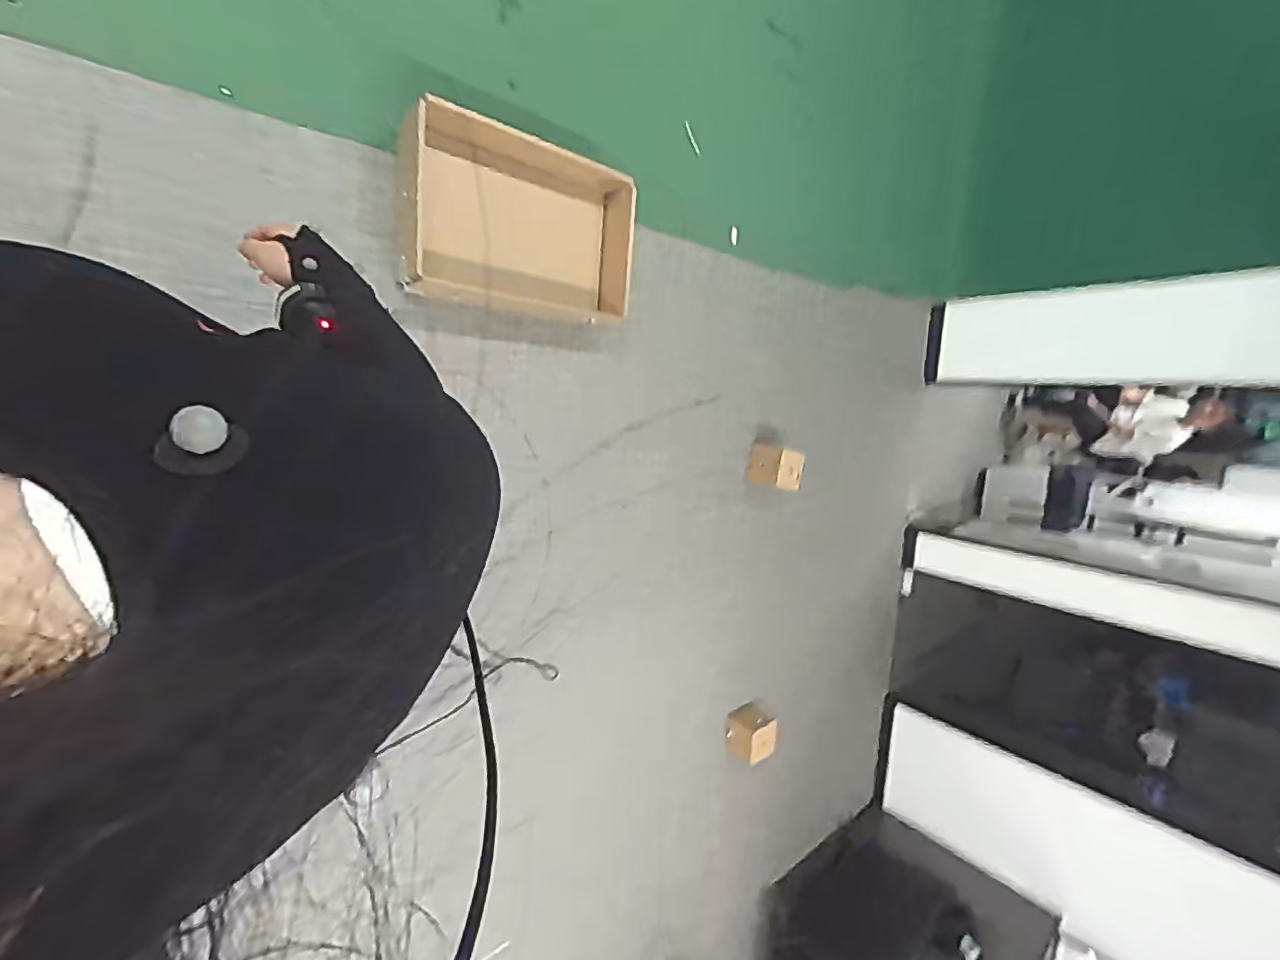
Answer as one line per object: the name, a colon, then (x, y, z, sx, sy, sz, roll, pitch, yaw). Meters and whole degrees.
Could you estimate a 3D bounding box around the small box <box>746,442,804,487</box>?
small box: (0.593, -0.072, 2.385, 0.179, 0.176, 0.168, 10, 92, -41)

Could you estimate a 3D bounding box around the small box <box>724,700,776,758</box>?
small box: (0.529, 1.191, 2.604, 0.179, 0.176, 0.168, -5, 101, -38)
